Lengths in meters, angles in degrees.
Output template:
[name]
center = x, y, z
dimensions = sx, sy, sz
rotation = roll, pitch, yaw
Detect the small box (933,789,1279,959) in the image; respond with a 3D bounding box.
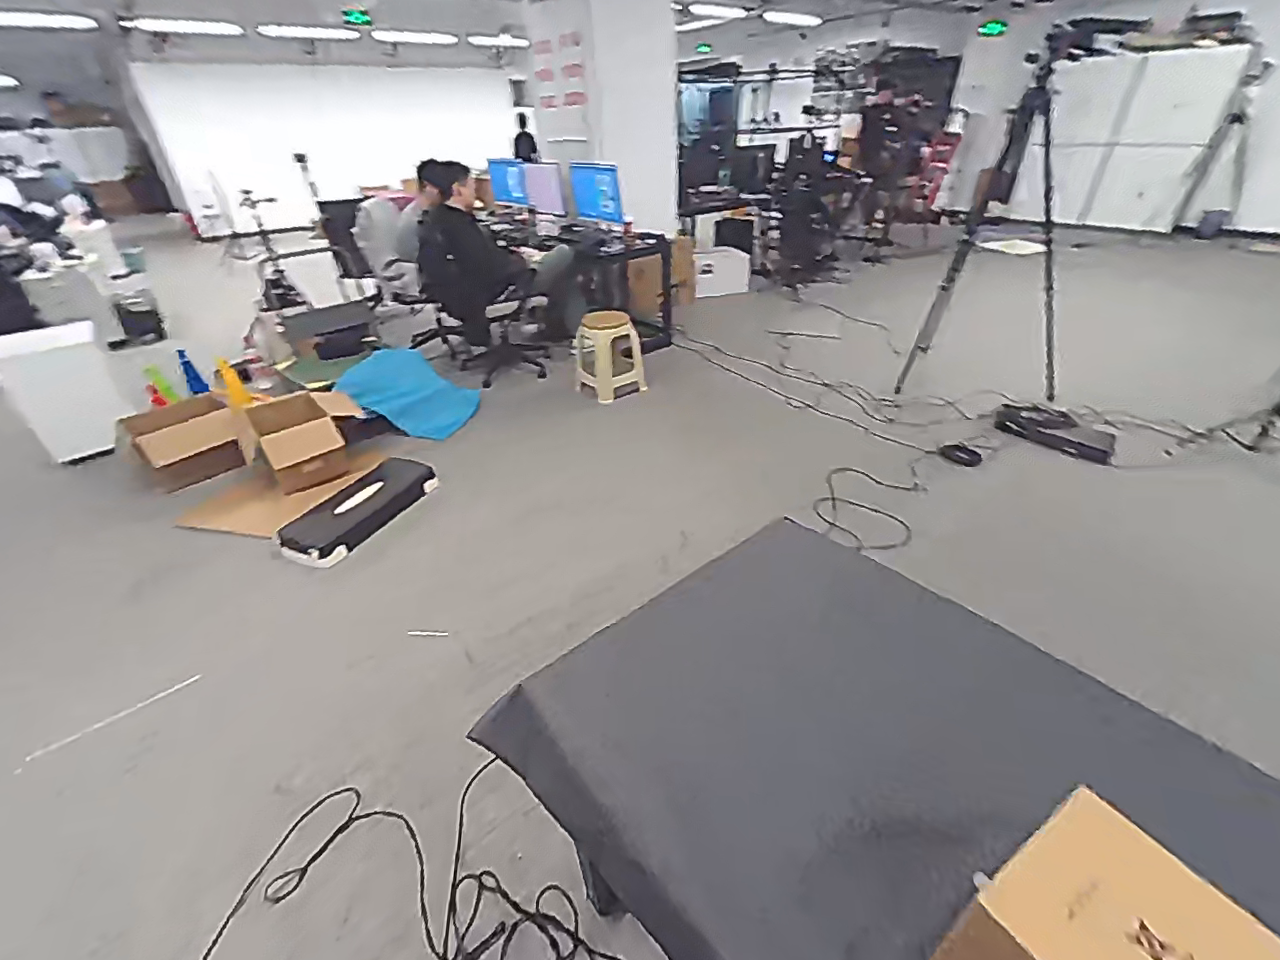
[small box]
center = 0.377, 0.406, 0.435
dimensions = 0.168, 0.176, 0.179
rotation = -19, 36, -25
